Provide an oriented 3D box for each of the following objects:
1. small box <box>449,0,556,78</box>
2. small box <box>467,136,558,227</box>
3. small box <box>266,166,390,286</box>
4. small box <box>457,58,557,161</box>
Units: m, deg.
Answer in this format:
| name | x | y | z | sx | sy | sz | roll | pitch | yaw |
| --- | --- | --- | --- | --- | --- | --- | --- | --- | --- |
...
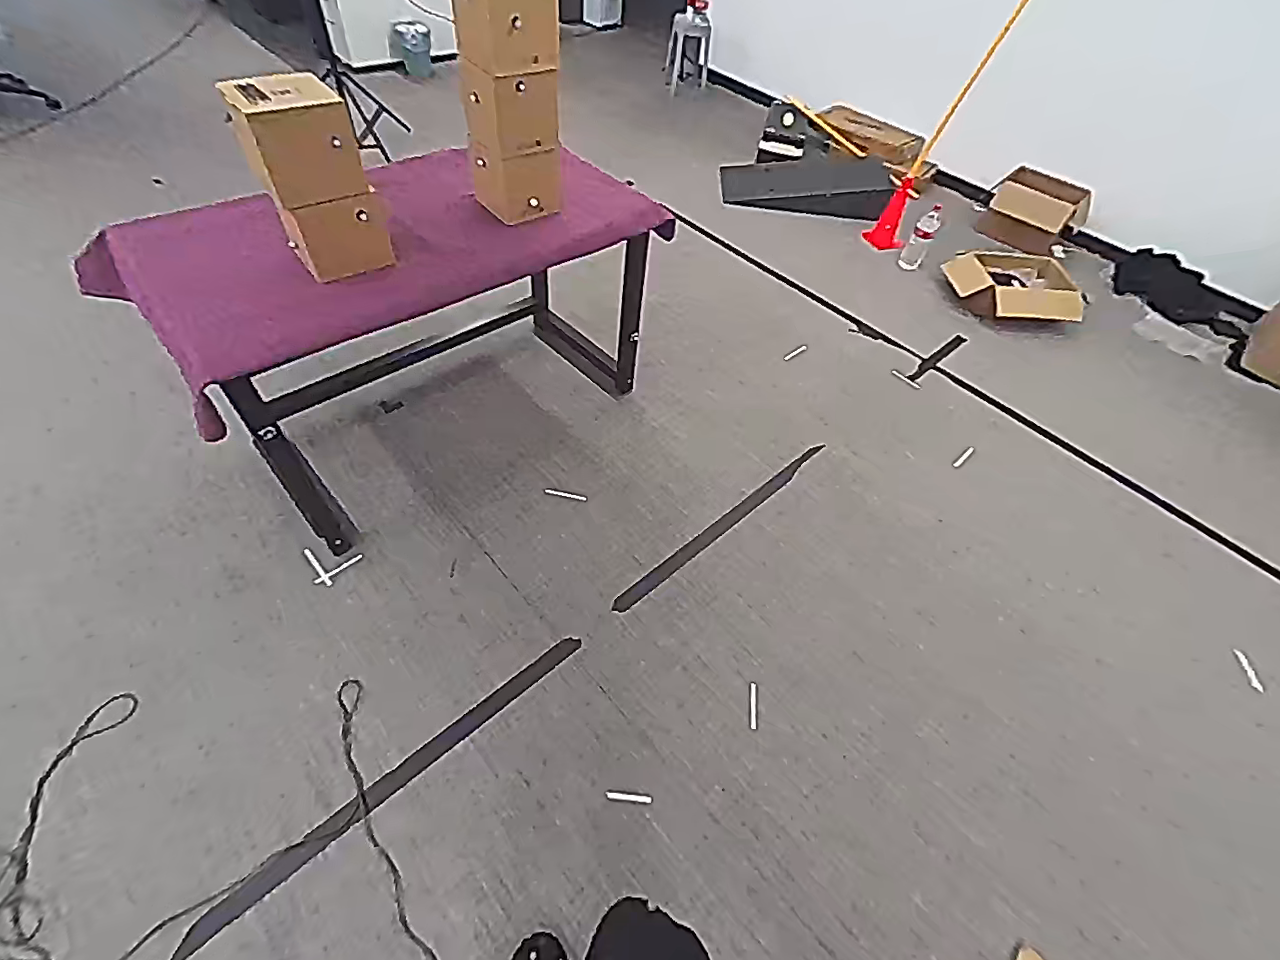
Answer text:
| name | x | y | z | sx | sy | sz | roll | pitch | yaw |
| --- | --- | --- | --- | --- | --- | --- | --- | --- | --- |
| small box | -0.295 | -0.995 | 1.172 | 0.168 | 0.176 | 0.179 | -30 | 61 | -26 |
| small box | -0.334 | -0.801 | 1.433 | 0.168 | 0.176 | 0.179 | -32 | 62 | -27 |
| small box | -0.681 | -0.565 | 1.205 | 0.179 | 0.176 | 0.168 | -31 | 61 | -27 |
| small box | -0.315 | -0.899 | 1.303 | 0.168 | 0.176 | 0.179 | -30 | 60 | -25 |
